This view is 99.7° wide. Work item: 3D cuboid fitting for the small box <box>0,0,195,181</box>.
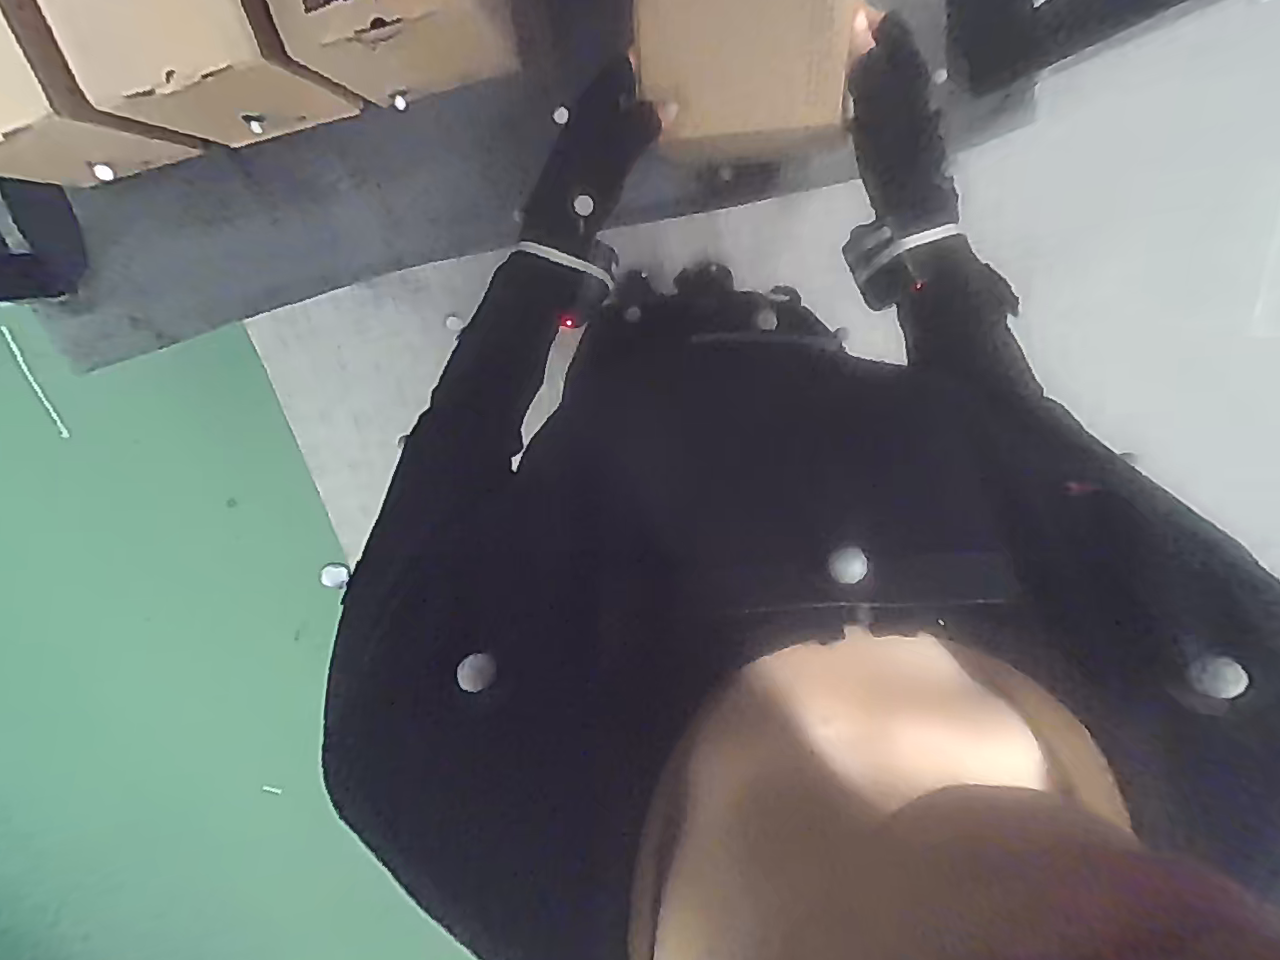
[{"bbox_3d":[-0.593,-0.408,0.513,0.168,0.176,0.179,-11,112,7],"label":"small box"}]
